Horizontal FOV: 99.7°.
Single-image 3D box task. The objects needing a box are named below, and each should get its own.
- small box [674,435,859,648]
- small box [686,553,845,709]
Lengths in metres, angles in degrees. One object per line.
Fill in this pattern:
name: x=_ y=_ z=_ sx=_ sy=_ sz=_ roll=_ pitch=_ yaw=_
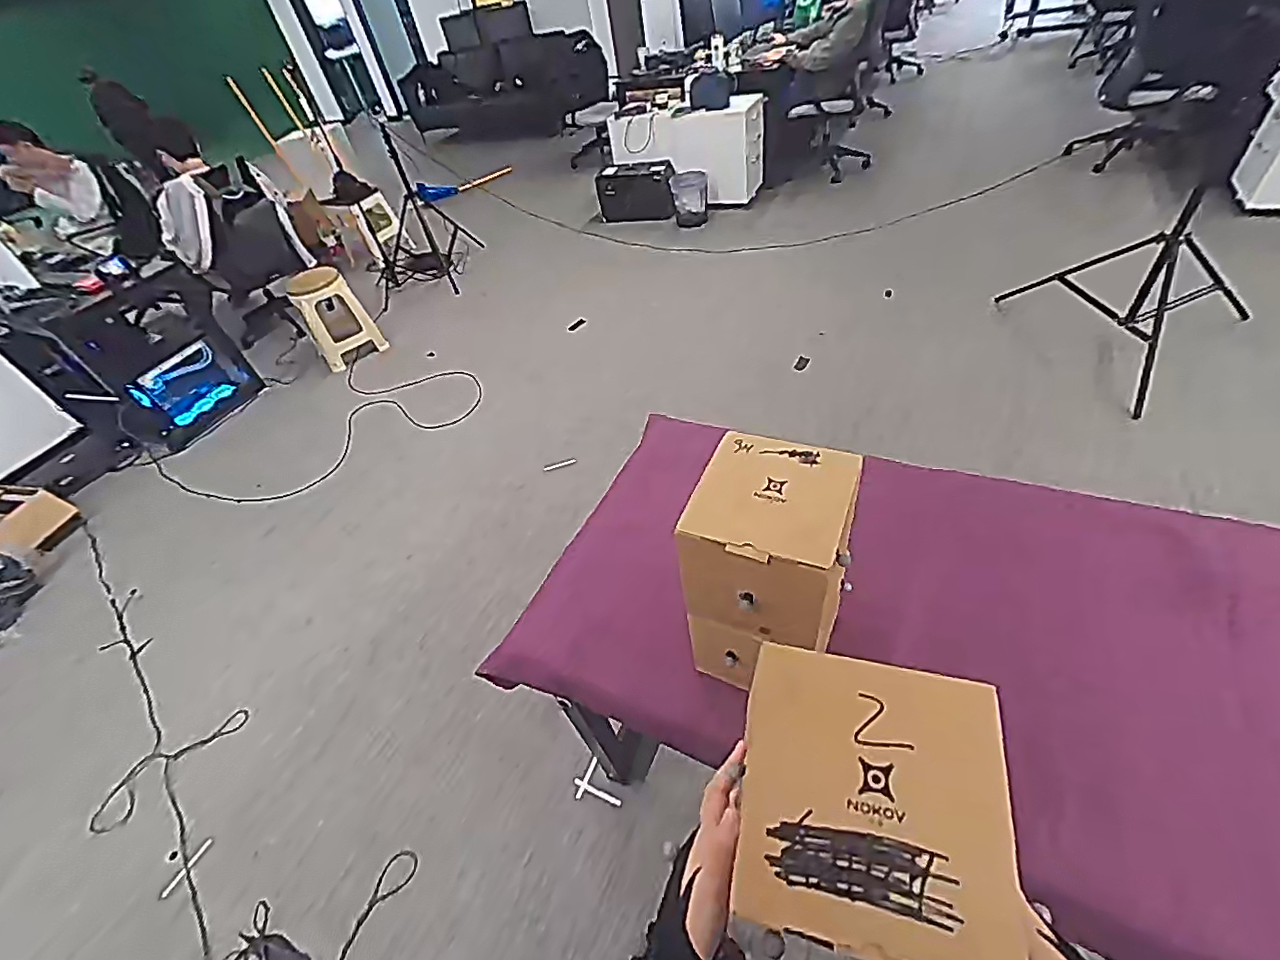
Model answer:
small box: x=0.157 y=0.075 z=0.660 sx=0.168 sy=0.176 sz=0.179 roll=14 pitch=50 yaw=23
small box: x=0.181 y=0.193 z=0.771 sx=0.168 sy=0.176 sz=0.179 roll=15 pitch=50 yaw=24
